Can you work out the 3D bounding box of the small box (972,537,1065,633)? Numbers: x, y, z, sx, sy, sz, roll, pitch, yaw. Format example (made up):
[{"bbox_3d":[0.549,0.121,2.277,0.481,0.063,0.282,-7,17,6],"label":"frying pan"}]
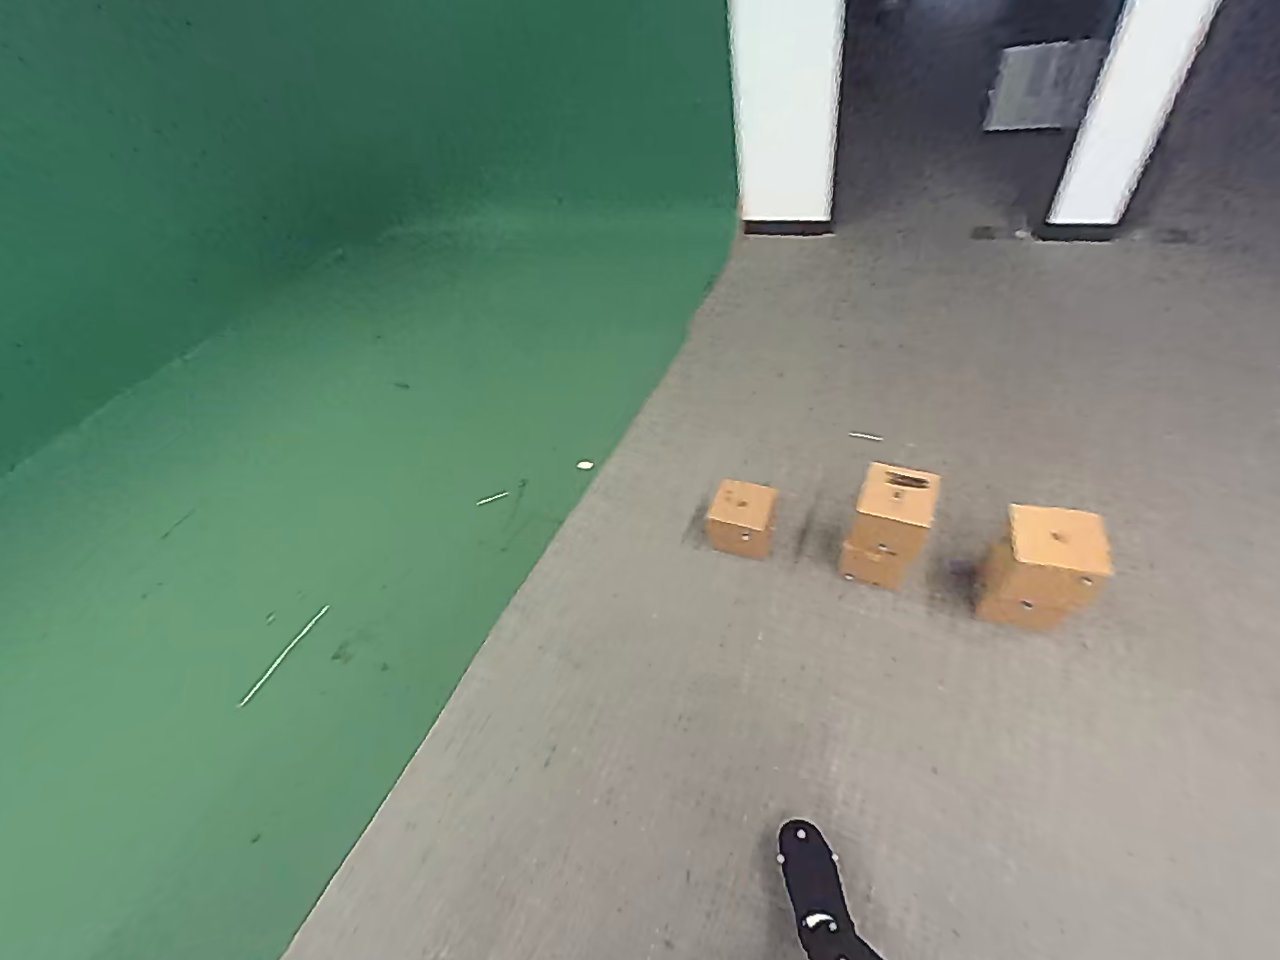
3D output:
[{"bbox_3d":[0.983,0.275,1.405,0.179,0.176,0.168,11,54,23],"label":"small box"}]

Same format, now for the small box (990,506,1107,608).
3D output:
[{"bbox_3d":[0.947,0.183,1.275,0.179,0.176,0.168,7,52,19],"label":"small box"}]

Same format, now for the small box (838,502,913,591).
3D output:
[{"bbox_3d":[0.674,0.194,1.558,0.168,0.176,0.179,13,54,24],"label":"small box"}]

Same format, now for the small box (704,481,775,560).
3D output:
[{"bbox_3d":[0.319,0.133,1.706,0.179,0.176,0.168,12,53,24],"label":"small box"}]
